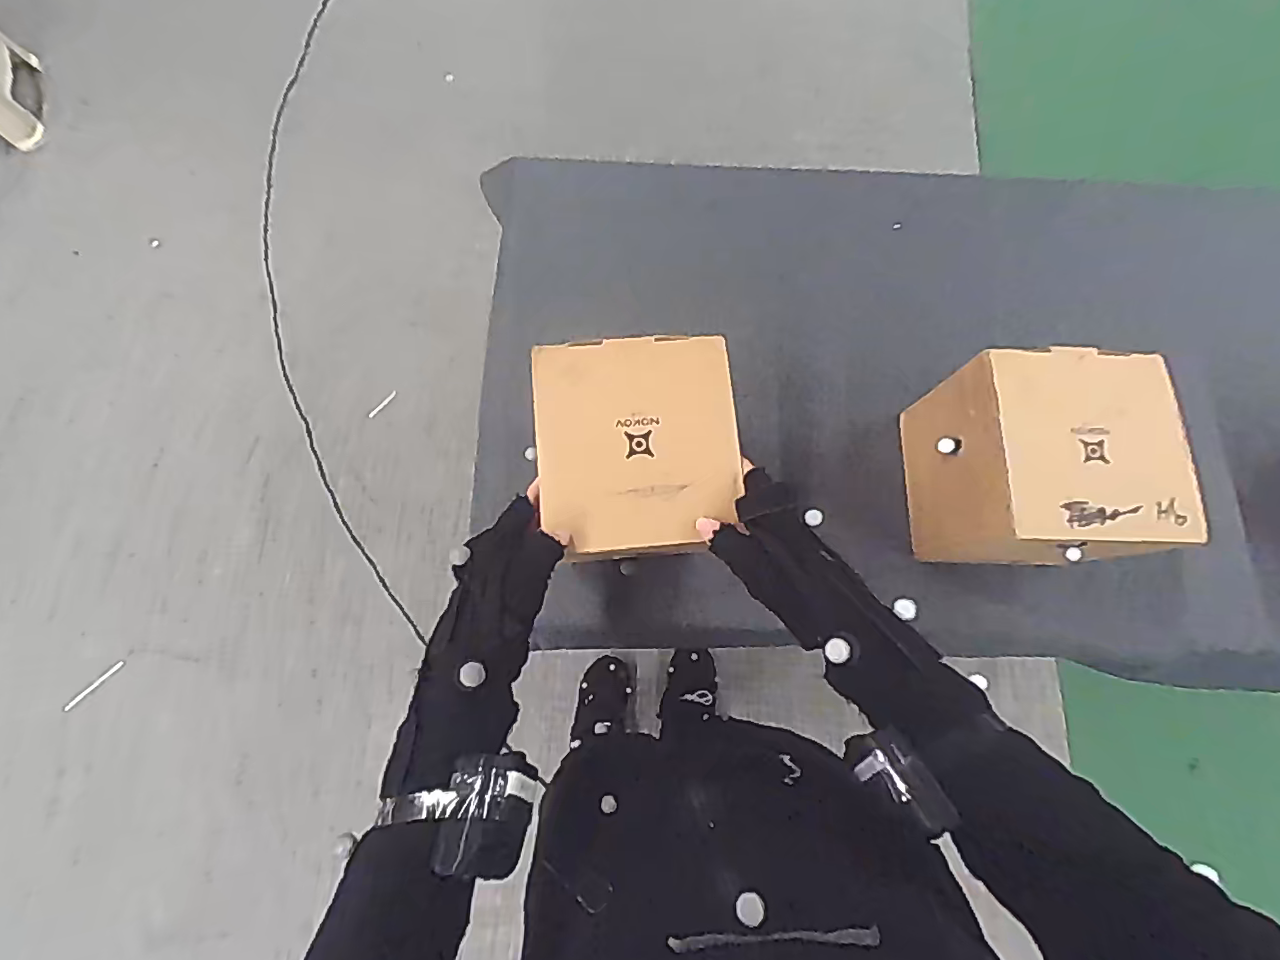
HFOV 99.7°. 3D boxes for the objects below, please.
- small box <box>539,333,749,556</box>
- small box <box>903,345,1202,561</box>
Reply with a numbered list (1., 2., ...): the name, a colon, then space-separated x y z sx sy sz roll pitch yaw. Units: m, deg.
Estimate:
1. small box: -0.004 -0.023 0.524 0.168 0.176 0.179 -5 81 -4
2. small box: 0.391 -0.017 0.553 0.168 0.176 0.179 1 75 0
